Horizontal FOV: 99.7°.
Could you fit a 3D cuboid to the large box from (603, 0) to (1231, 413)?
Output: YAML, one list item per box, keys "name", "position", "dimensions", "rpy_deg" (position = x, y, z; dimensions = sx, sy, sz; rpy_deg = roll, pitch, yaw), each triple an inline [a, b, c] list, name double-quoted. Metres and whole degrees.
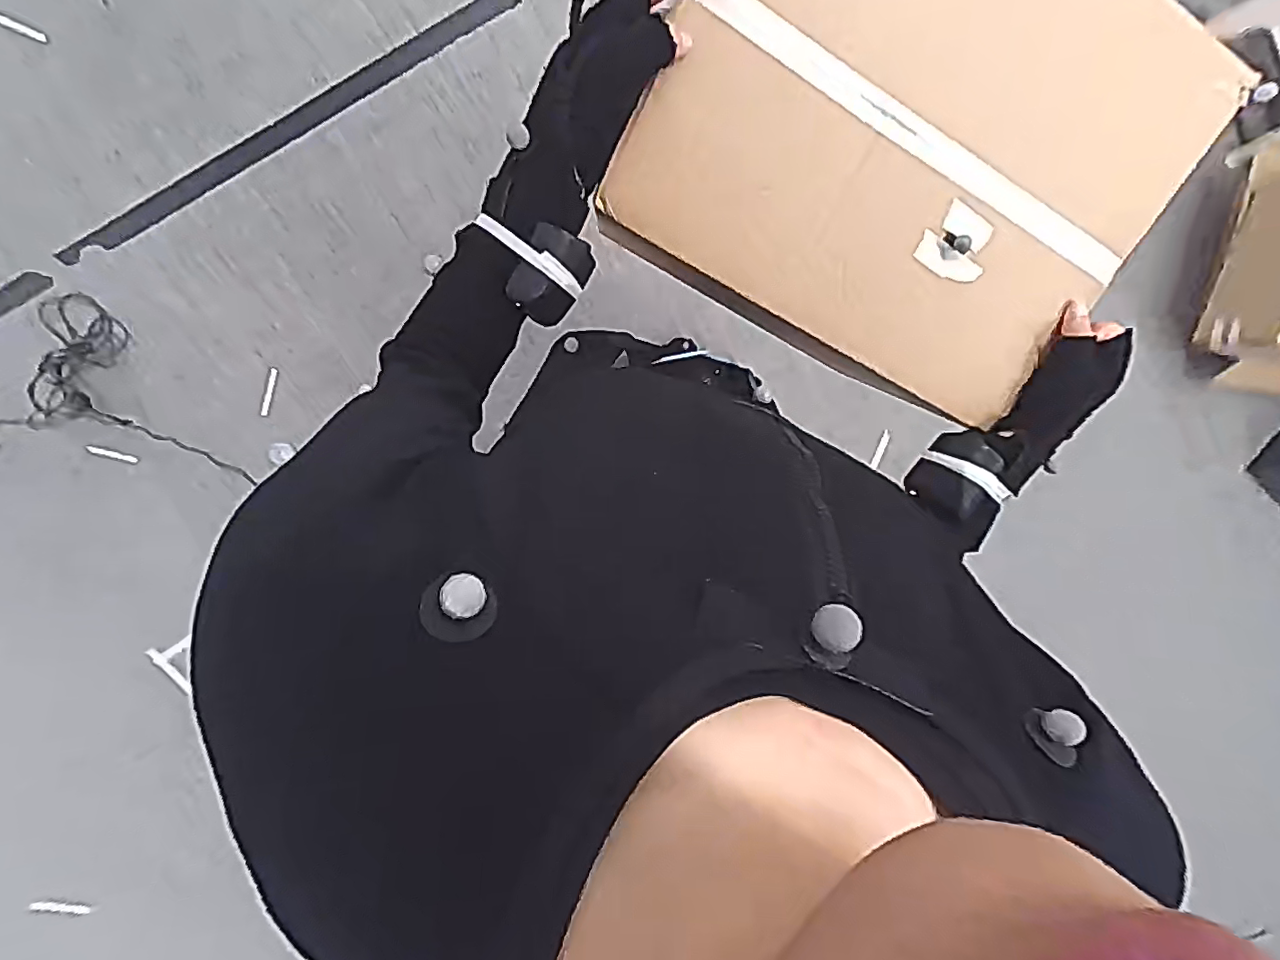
- name: "large box"
  position: [0.204, -0.321, 0.557]
  dimensions: [0.408, 0.320, 0.320]
  rpy_deg: [25, 109, -14]
